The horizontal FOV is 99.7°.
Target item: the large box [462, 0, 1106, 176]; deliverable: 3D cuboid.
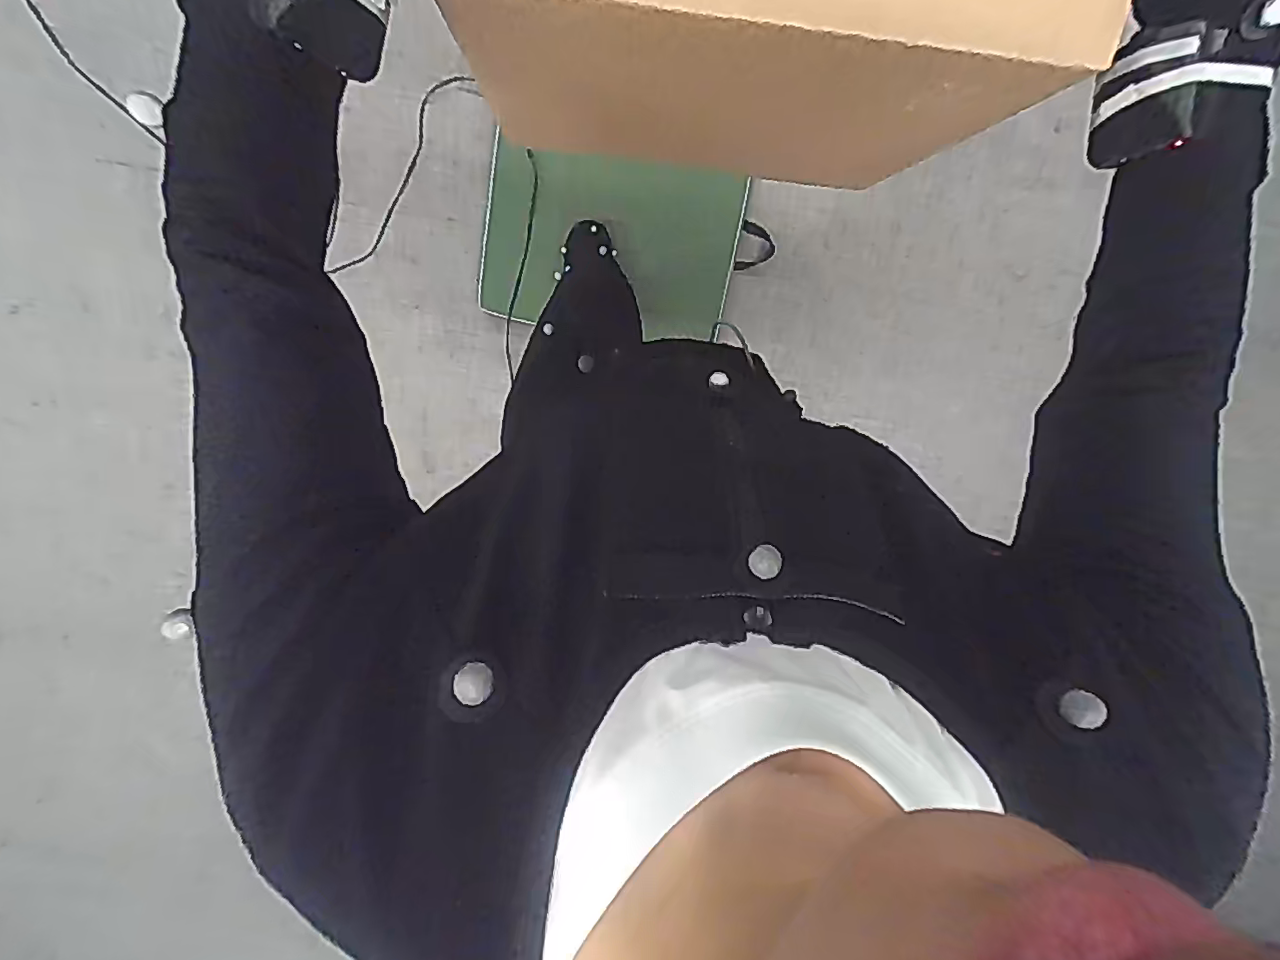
[{"bbox_3d":[0.083,-0.460,0.420,0.408,0.320,0.320,3,107,-6],"label":"large box"}]
